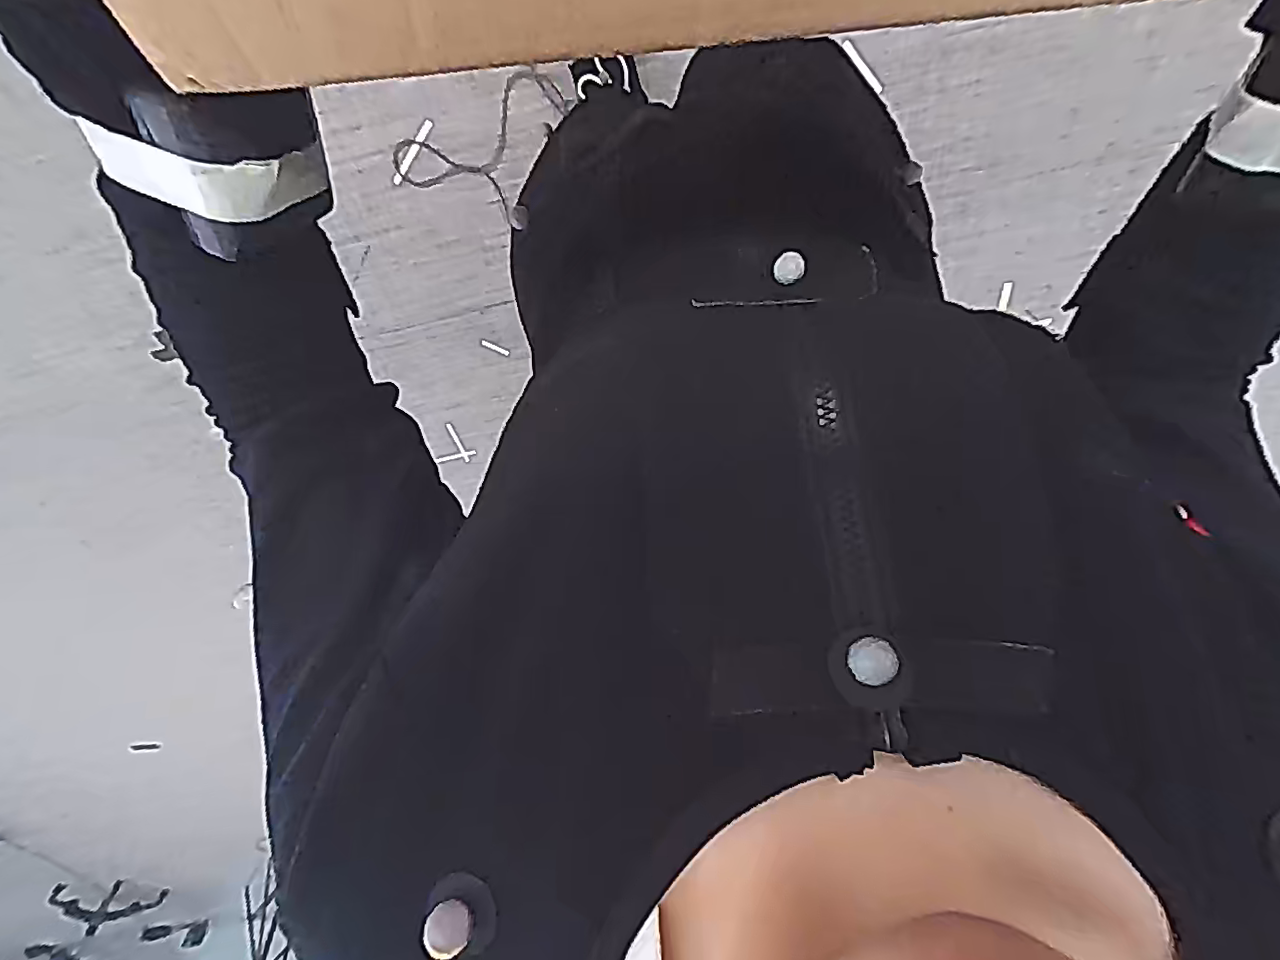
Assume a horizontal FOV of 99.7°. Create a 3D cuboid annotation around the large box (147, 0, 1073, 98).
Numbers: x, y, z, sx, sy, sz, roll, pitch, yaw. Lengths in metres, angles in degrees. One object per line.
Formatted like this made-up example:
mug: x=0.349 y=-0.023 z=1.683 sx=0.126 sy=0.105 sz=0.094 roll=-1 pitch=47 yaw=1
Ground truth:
large box: x=0.031 y=-0.355 z=0.128 sx=0.408 sy=0.320 sz=0.320 roll=-6 pitch=147 yaw=0
